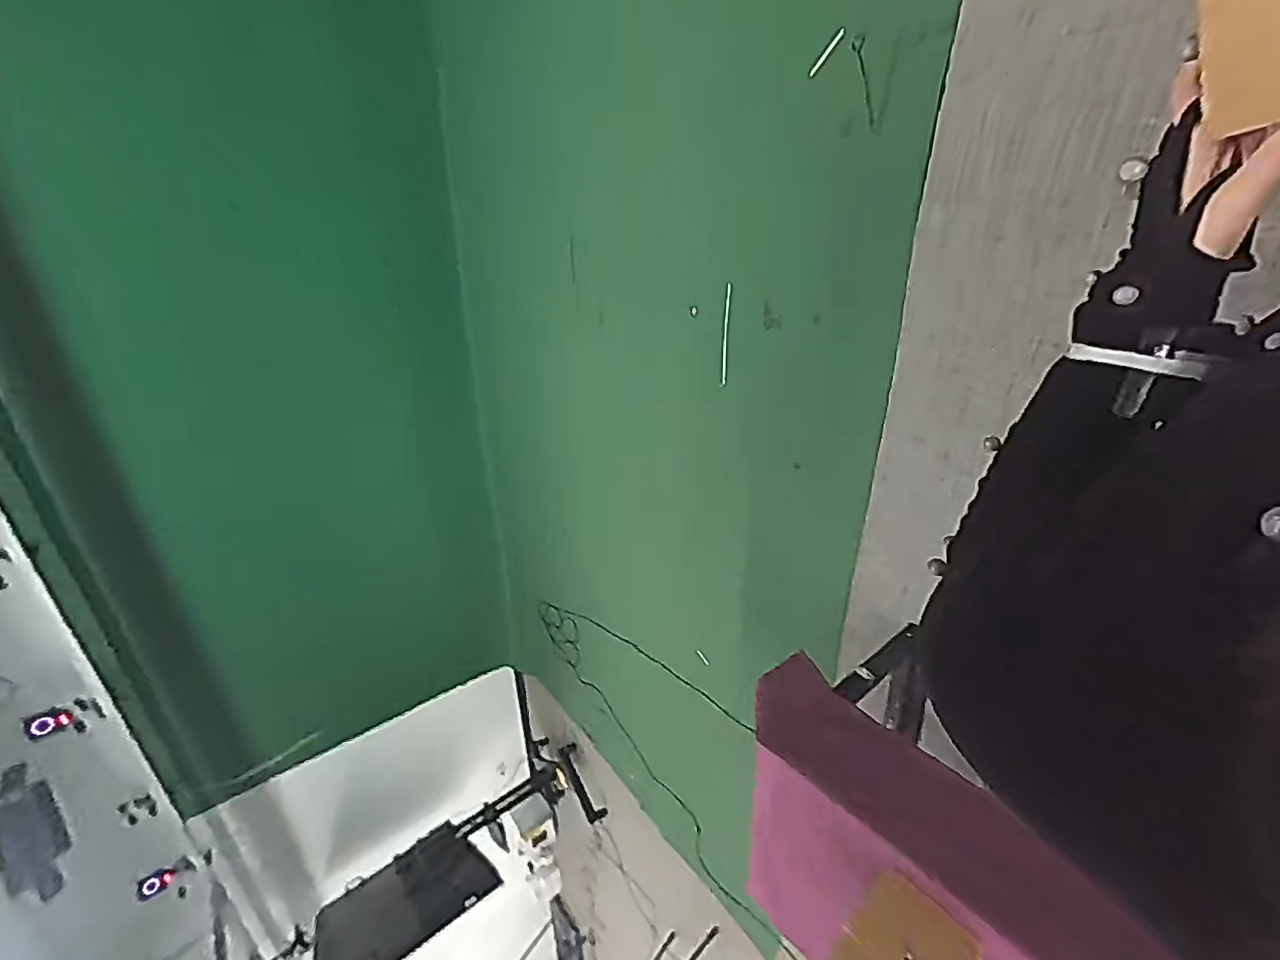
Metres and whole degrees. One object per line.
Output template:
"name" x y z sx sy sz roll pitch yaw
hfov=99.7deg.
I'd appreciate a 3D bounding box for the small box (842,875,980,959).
"small box" 0.487 0.891 0.992 0.179 0.176 0.168 26 125 47
